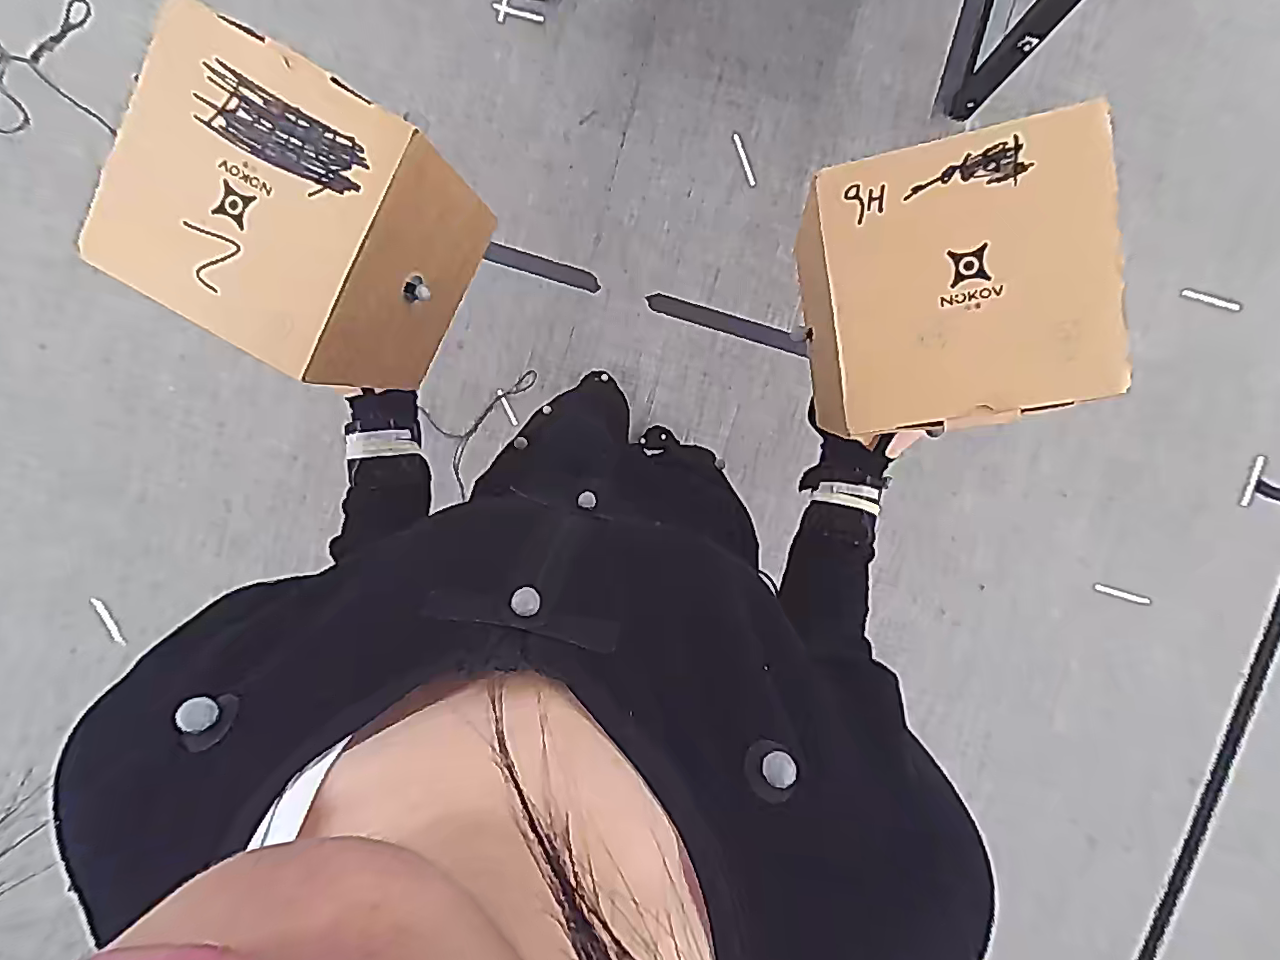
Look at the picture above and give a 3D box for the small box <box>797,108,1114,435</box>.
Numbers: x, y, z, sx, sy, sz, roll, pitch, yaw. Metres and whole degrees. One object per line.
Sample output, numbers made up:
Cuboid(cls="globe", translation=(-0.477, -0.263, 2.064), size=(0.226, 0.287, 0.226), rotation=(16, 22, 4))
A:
Cuboid(cls="small box", translation=(0.222, -0.138, 0.423), size=(0.168, 0.176, 0.179), rotation=(-8, 97, 12))
